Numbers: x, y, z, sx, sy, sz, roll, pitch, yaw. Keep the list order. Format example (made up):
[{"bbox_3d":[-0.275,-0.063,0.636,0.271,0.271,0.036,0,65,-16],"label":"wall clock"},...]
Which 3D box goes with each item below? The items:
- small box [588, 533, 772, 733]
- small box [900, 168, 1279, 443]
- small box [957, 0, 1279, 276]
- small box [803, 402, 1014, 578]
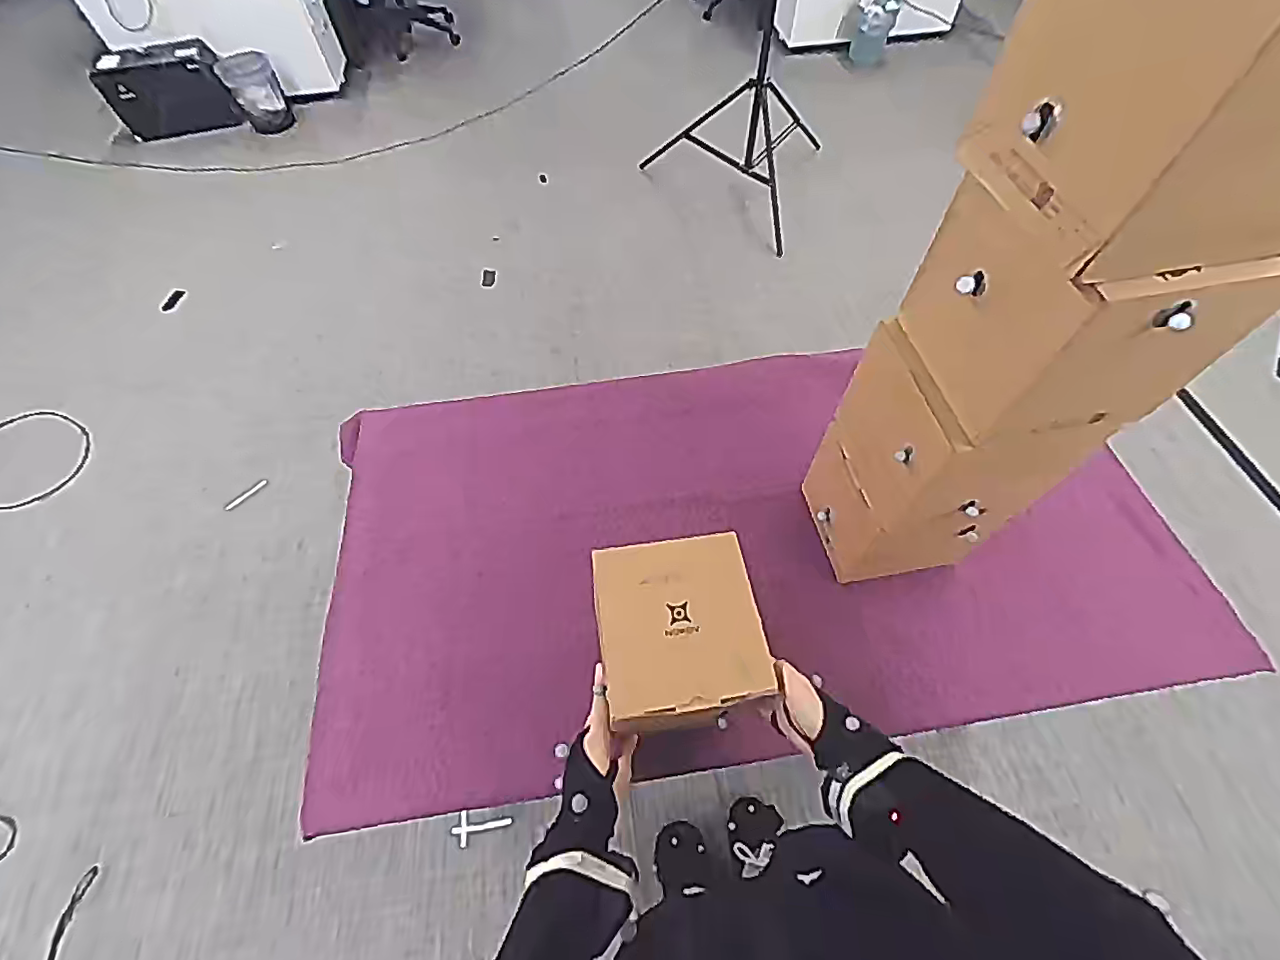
[{"bbox_3d":[0.034,0.185,0.628,0.168,0.176,0.179,-7,57,-8],"label":"small box"},{"bbox_3d":[0.357,-0.157,0.462,0.168,0.176,0.179,-9,58,-4],"label":"small box"},{"bbox_3d":[0.344,-0.251,0.329,0.179,0.176,0.168,-10,59,-4],"label":"small box"},{"bbox_3d":[0.346,0.018,0.739,0.179,0.176,0.168,-10,58,-3],"label":"small box"}]
